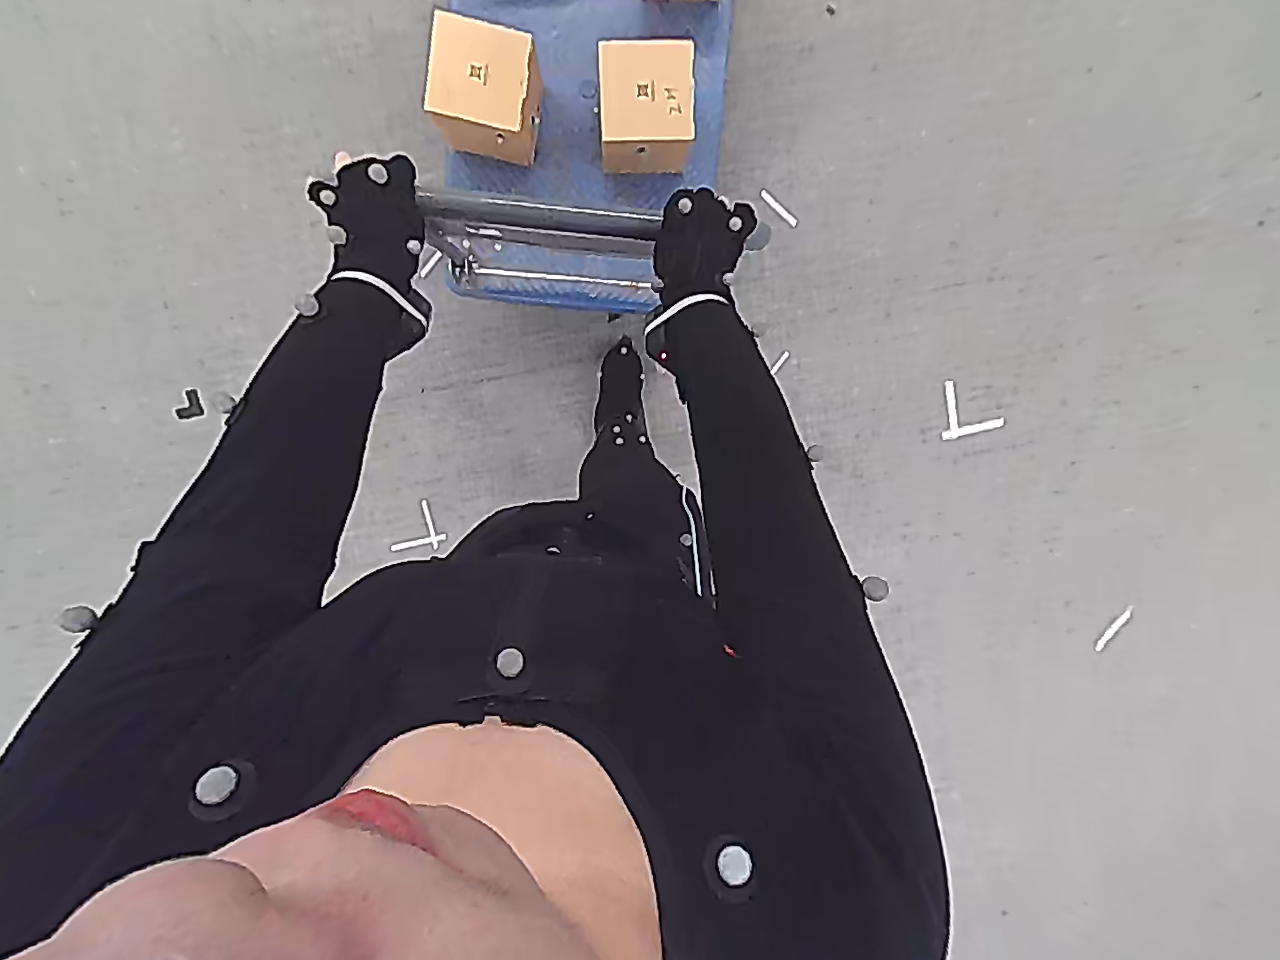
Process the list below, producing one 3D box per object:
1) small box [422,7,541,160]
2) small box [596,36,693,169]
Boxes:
[{"bbox_3d":[-0.296,-0.748,1.041,0.179,0.176,0.168,10,100,-6],"label":"small box"},{"bbox_3d":[0.008,-0.728,1.060,0.179,0.176,0.168,-2,102,-2],"label":"small box"}]
